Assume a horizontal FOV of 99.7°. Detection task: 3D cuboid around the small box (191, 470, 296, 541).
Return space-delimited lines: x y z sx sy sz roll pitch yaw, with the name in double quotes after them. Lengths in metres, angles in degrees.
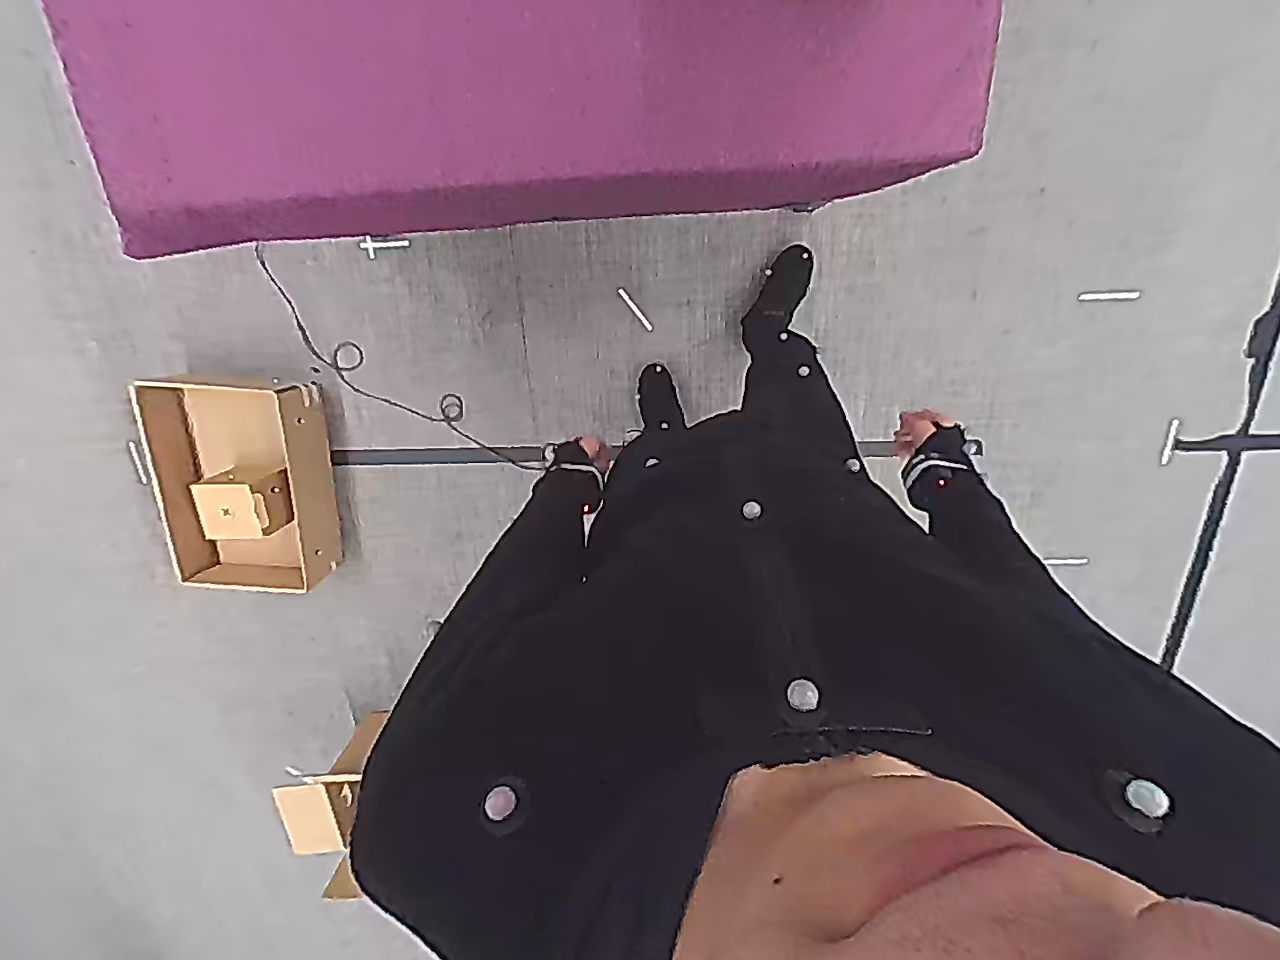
-1.144 0.070 1.581 0.179 0.176 0.168 -1 108 2 "small box"
